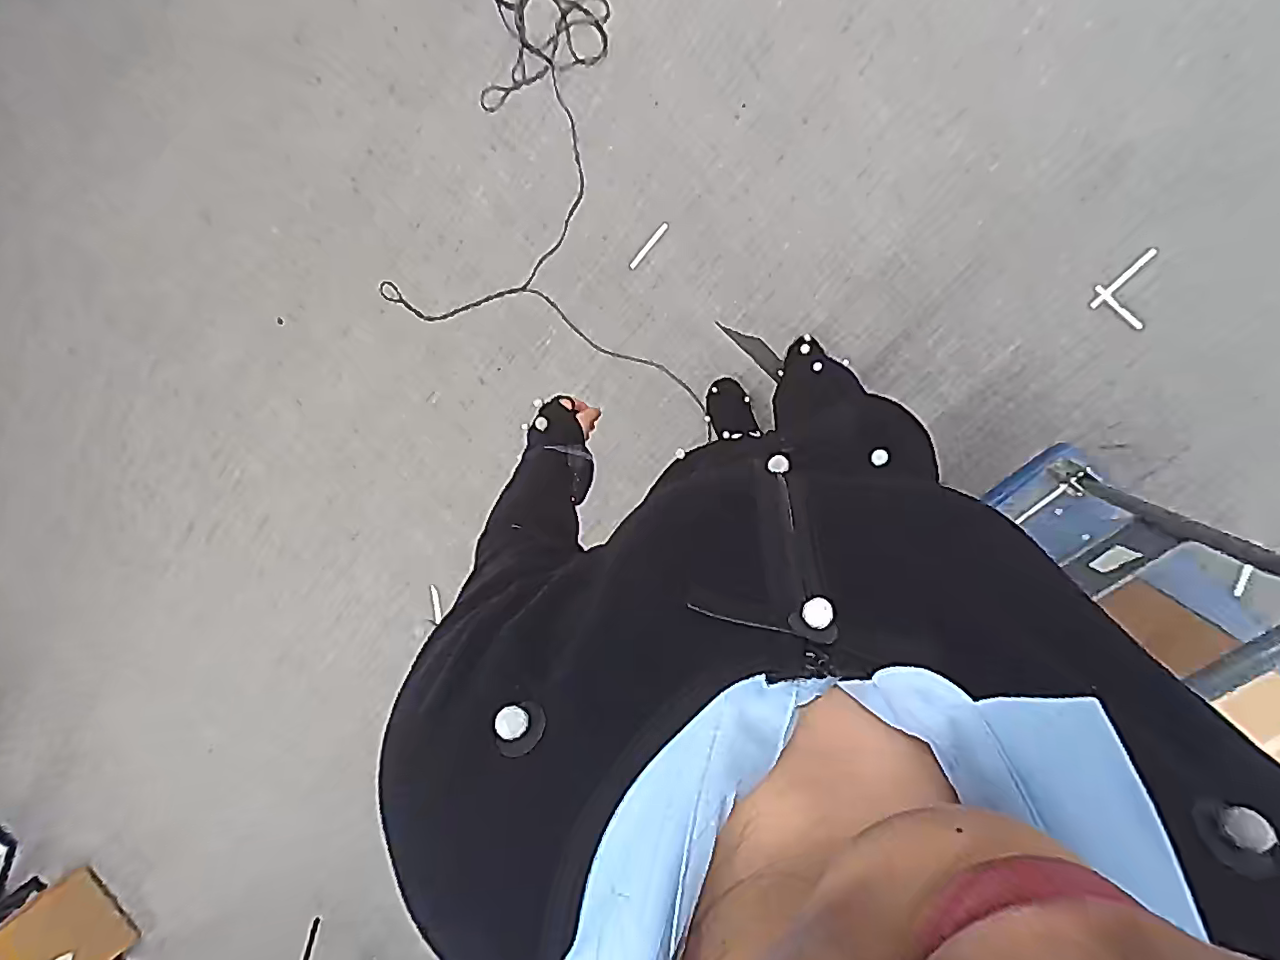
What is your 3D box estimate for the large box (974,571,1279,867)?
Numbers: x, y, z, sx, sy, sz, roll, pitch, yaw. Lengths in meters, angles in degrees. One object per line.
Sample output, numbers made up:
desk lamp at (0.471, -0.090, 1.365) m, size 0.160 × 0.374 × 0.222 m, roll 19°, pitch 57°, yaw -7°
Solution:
large box at (1.007, 0.464, 1.110) m, size 0.320 × 0.320 × 0.408 m, roll 44°, pitch 108°, yaw 0°
